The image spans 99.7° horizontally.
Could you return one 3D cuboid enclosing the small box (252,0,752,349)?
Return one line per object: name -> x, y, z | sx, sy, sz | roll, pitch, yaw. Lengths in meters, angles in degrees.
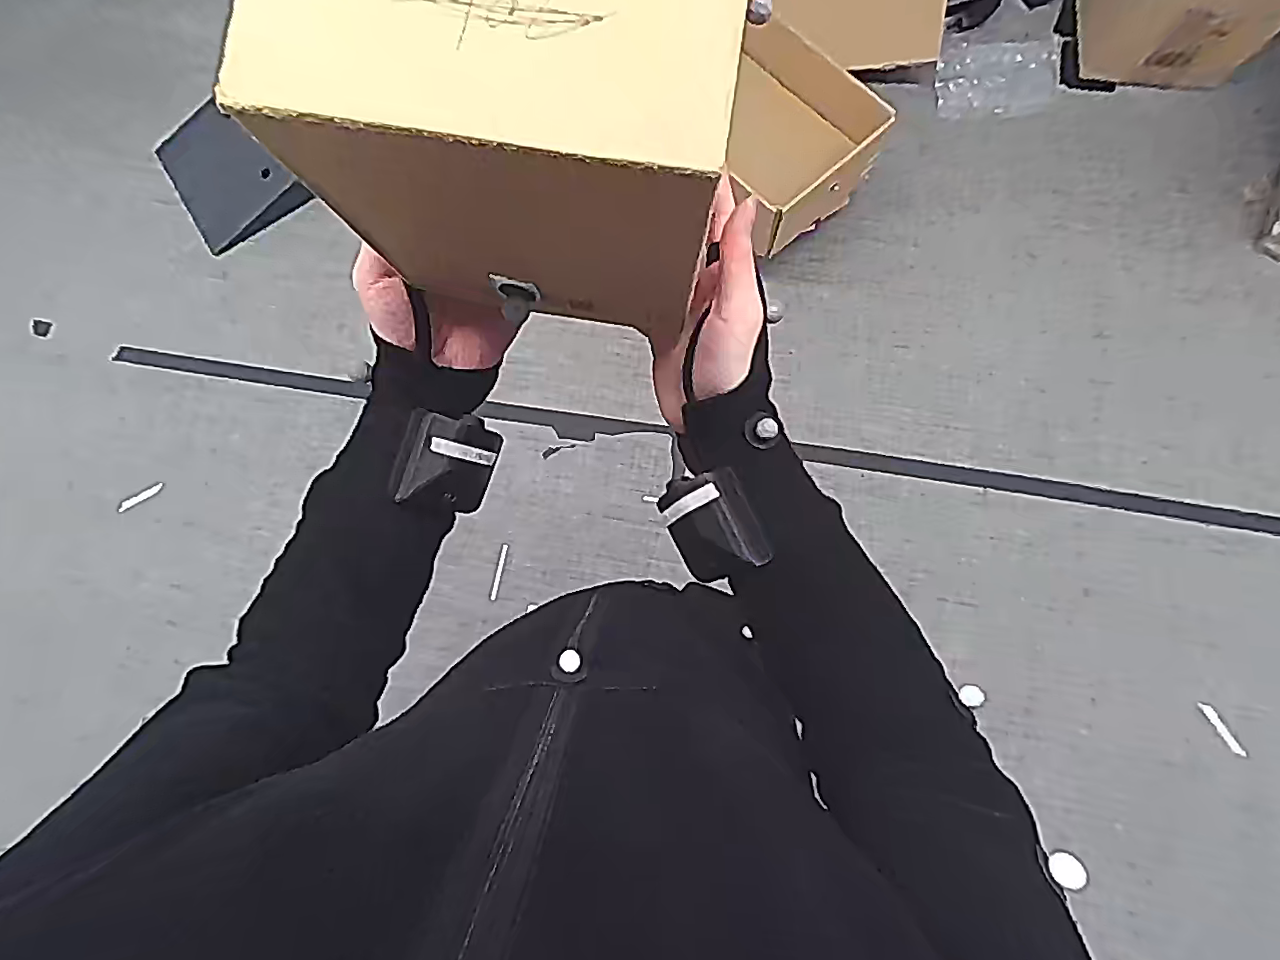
small box -> -0.040, -0.182, 0.269 | 0.168, 0.176, 0.179 | 8, 88, 1
